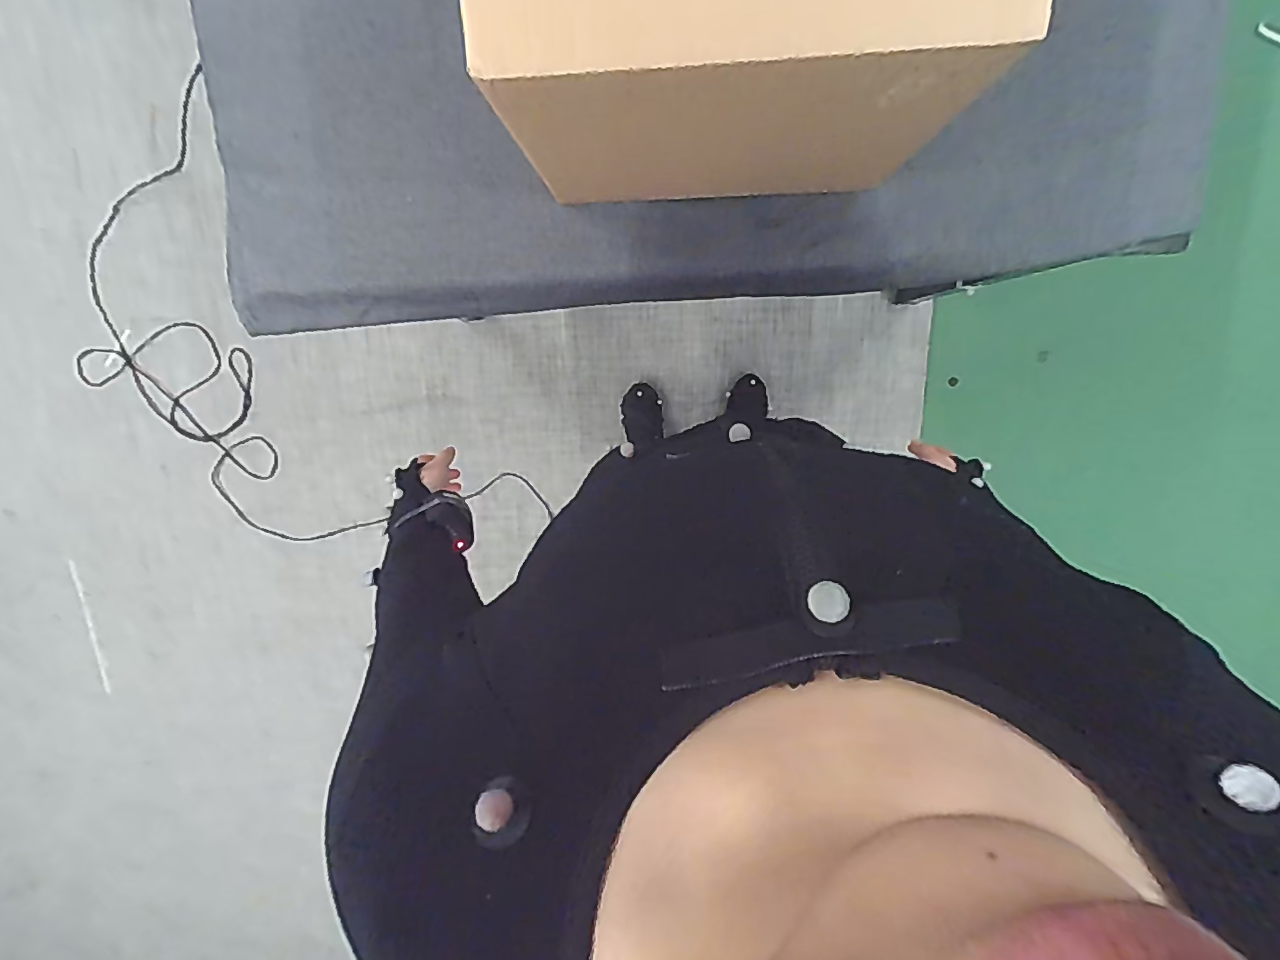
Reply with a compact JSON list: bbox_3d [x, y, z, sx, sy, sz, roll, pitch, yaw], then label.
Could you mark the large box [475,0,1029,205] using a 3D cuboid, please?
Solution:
[{"bbox_3d":[0.076,-0.483,0.514,0.408,0.320,0.320,-2,102,3],"label":"large box"}]
